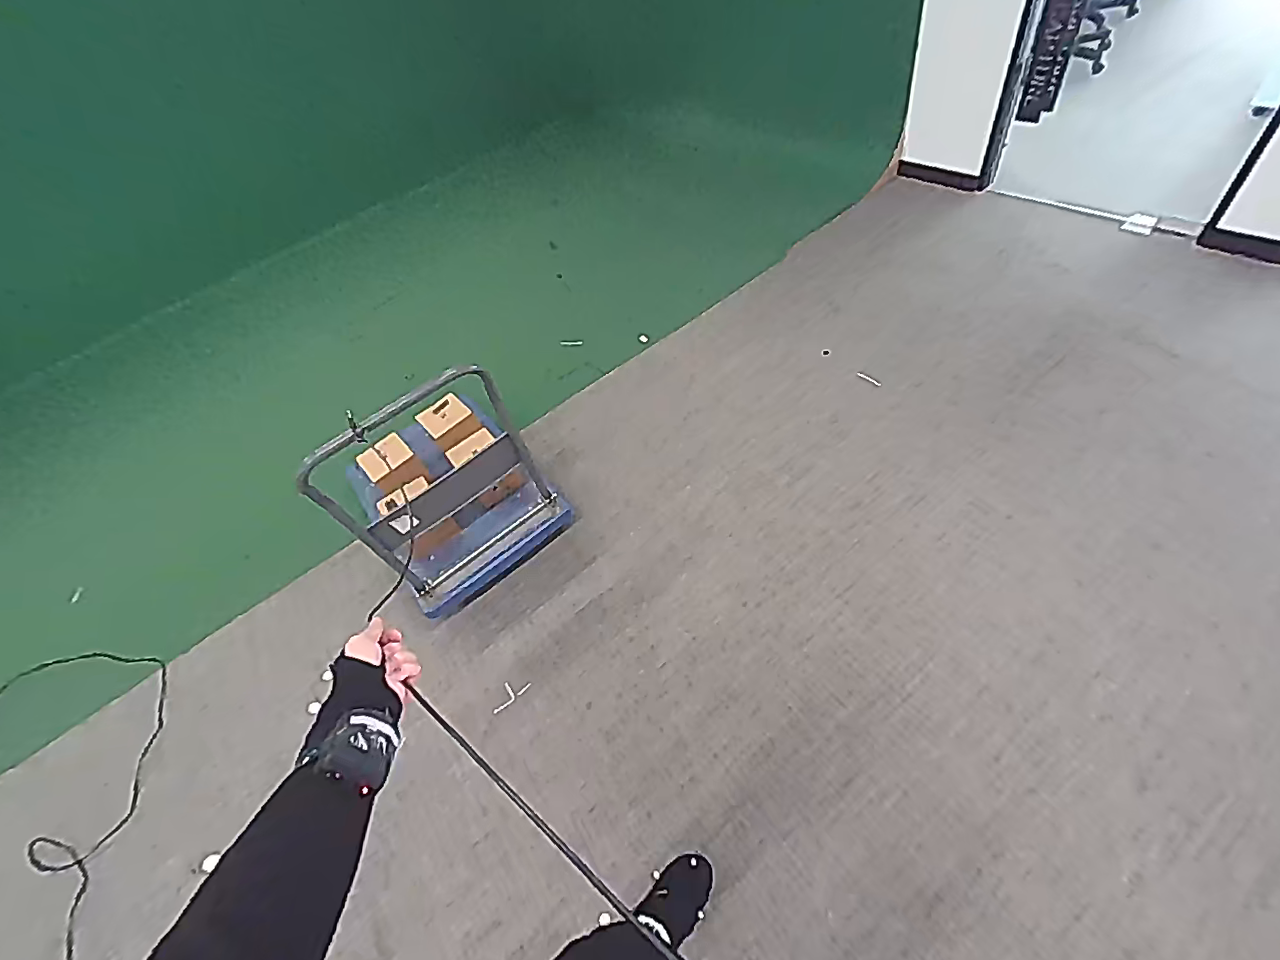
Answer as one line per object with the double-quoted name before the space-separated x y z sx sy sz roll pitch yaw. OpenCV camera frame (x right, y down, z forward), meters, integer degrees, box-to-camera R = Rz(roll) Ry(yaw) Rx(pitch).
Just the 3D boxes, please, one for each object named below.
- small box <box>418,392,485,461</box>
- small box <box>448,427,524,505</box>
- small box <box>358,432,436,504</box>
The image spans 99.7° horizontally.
"small box" -0.698 -0.194 2.048 0.168 0.176 0.179 -41 55 -16
"small box" -0.535 -0.047 1.891 0.168 0.176 0.179 -36 54 -14
"small box" -0.881 -0.037 1.974 0.168 0.176 0.179 -40 54 -18
